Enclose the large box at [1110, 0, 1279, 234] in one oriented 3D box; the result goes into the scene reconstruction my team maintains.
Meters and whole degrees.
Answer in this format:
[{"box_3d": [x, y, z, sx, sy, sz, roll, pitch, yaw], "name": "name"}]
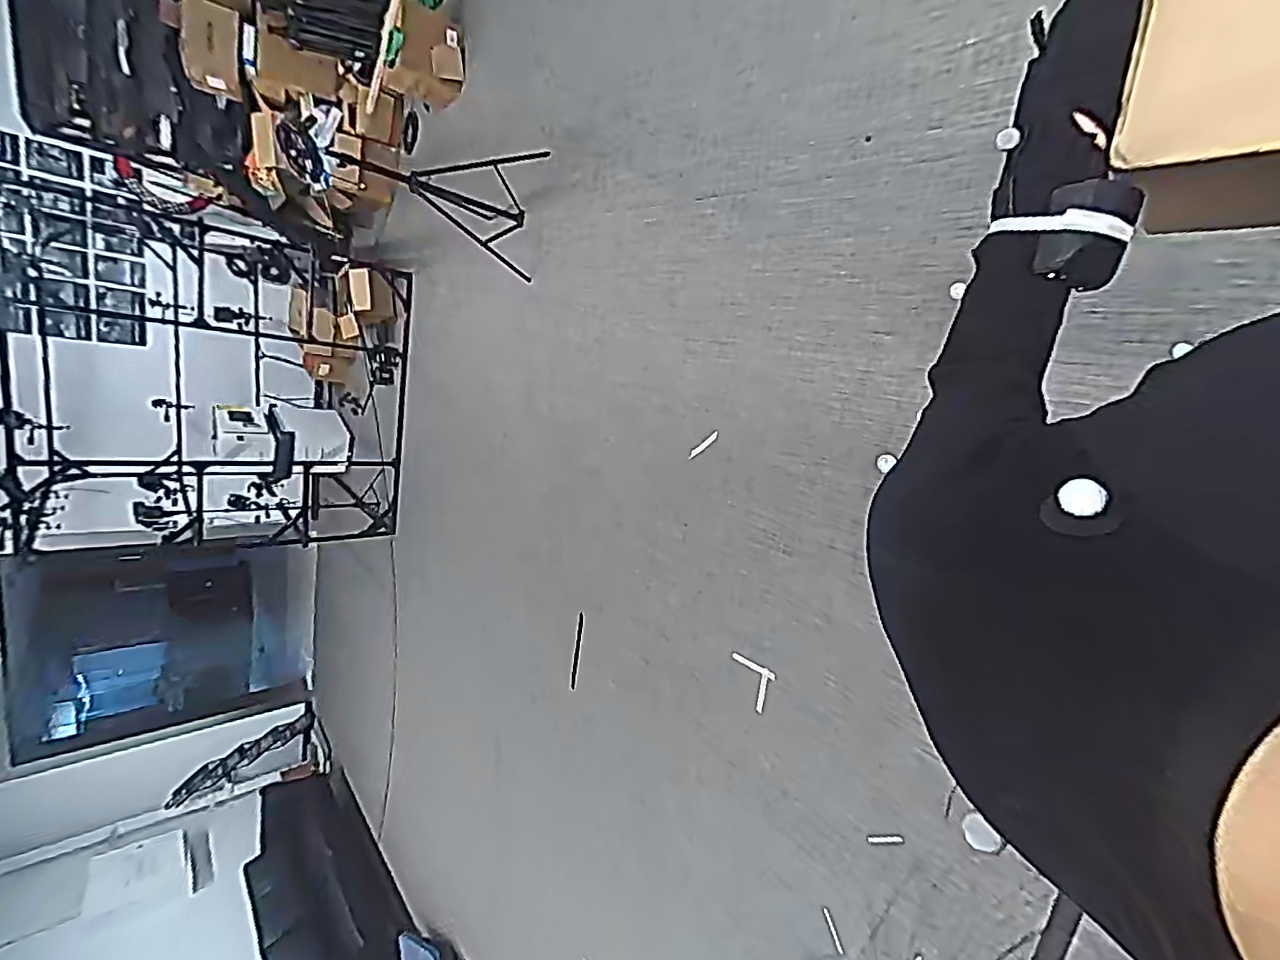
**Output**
[{"box_3d": [0.593, -0.358, 0.330, 0.408, 0.320, 0.320, 17, 112, 43], "name": "large box"}]
